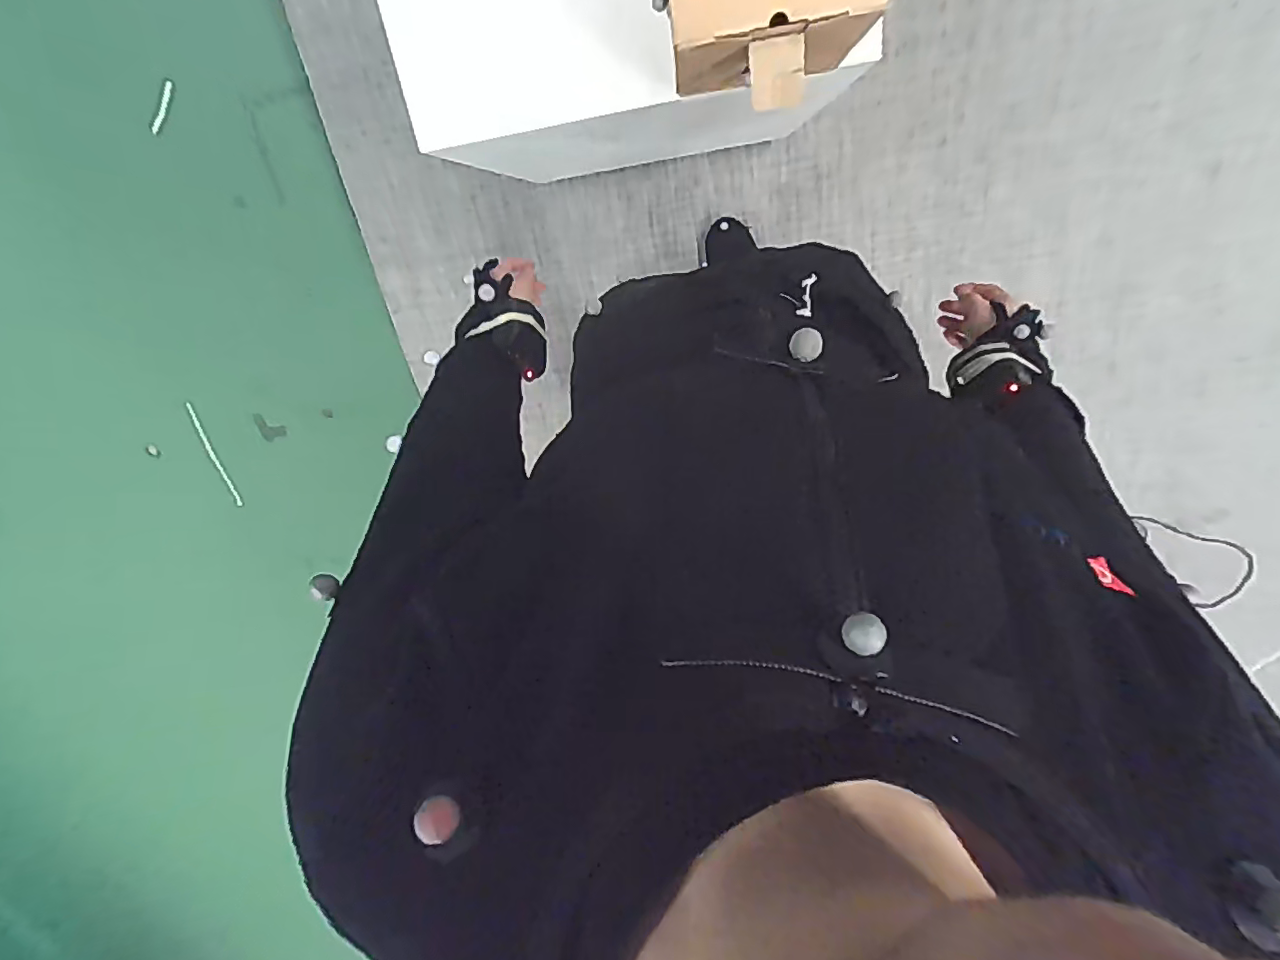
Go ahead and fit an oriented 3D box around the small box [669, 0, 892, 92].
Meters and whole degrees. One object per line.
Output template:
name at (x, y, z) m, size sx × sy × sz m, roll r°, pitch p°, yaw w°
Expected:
small box at (0.104, -0.460, 0.453) m, size 0.168 × 0.176 × 0.179 m, roll -5°, pitch 114°, yaw 8°
